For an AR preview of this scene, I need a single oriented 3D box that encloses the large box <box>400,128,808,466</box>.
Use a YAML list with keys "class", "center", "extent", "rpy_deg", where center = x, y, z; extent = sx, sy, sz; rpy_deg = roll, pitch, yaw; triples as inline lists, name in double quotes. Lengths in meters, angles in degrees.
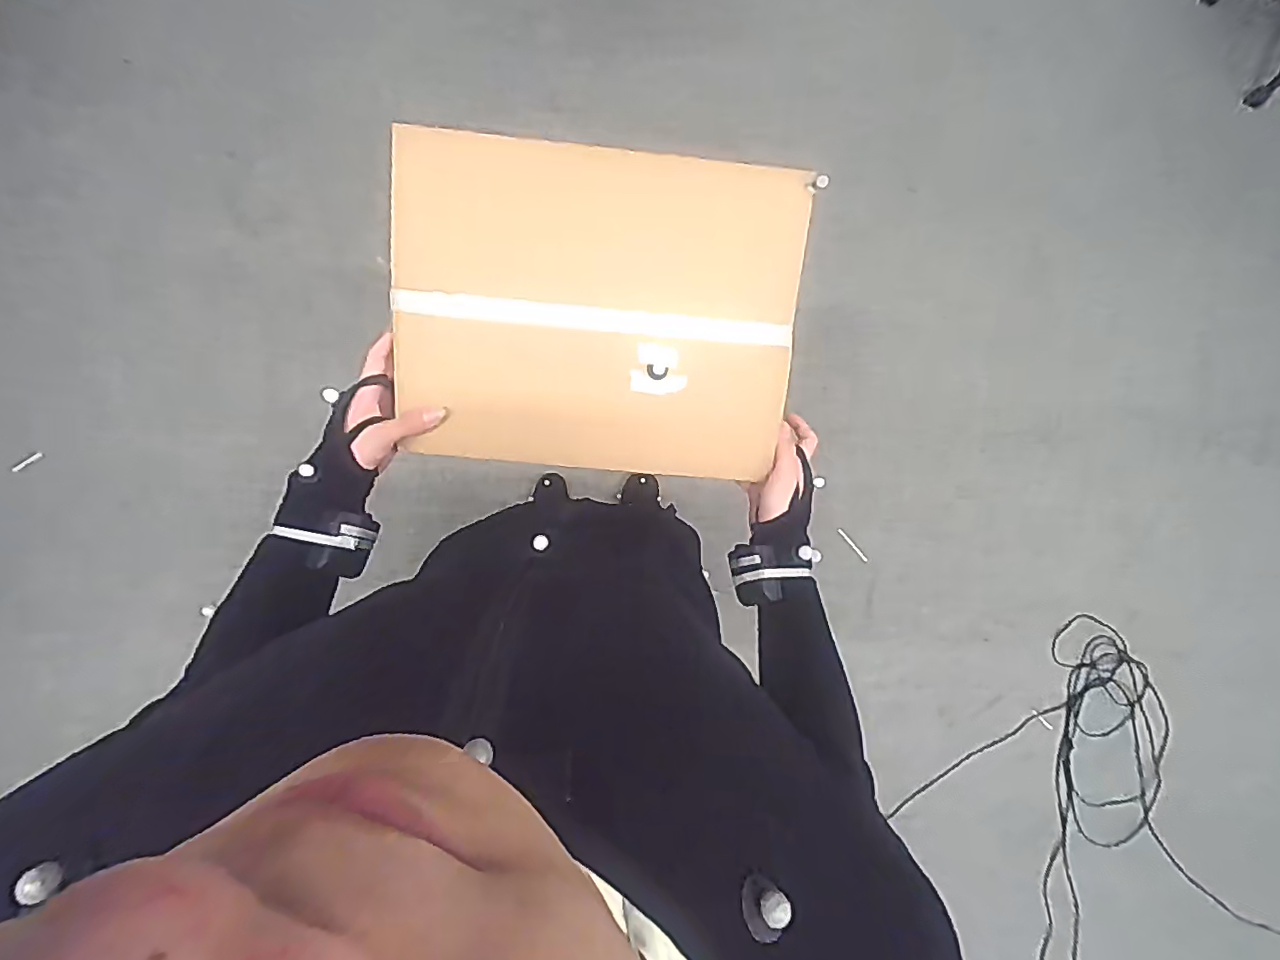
- class: "large box"
  center: [-0.049, -0.207, 0.700]
  extent: [0.408, 0.320, 0.320]
  rpy_deg: [4, 104, -4]
